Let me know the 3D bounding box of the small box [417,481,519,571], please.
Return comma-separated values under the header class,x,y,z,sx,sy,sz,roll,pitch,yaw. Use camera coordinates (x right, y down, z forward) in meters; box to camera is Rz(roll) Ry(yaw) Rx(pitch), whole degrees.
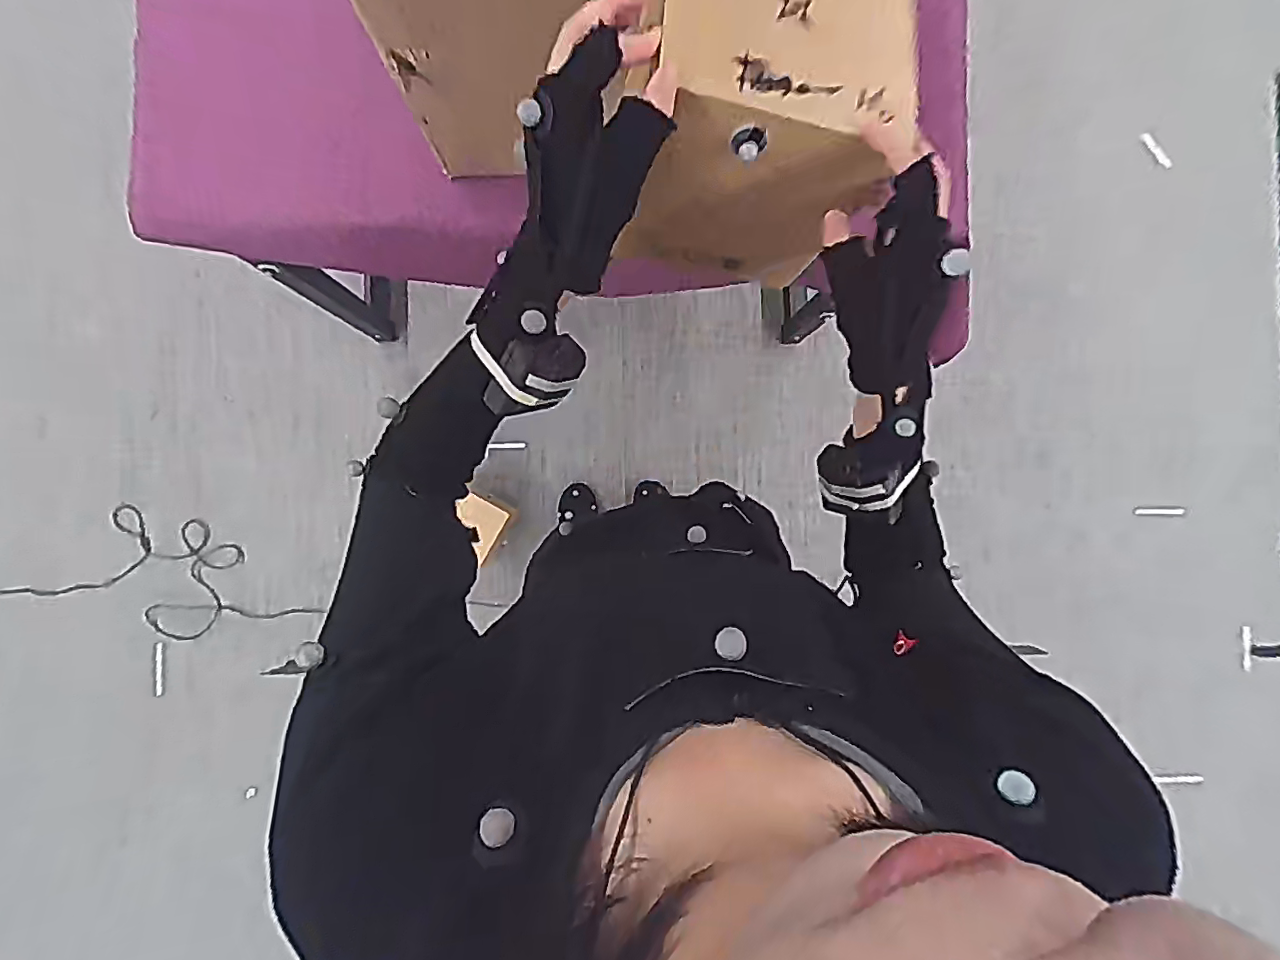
class,x,y,z,sx,sy,sz,roll,pitch,yaw
small box,-0.440,0.116,1.413,0.179,0.176,0.168,30,88,-3
